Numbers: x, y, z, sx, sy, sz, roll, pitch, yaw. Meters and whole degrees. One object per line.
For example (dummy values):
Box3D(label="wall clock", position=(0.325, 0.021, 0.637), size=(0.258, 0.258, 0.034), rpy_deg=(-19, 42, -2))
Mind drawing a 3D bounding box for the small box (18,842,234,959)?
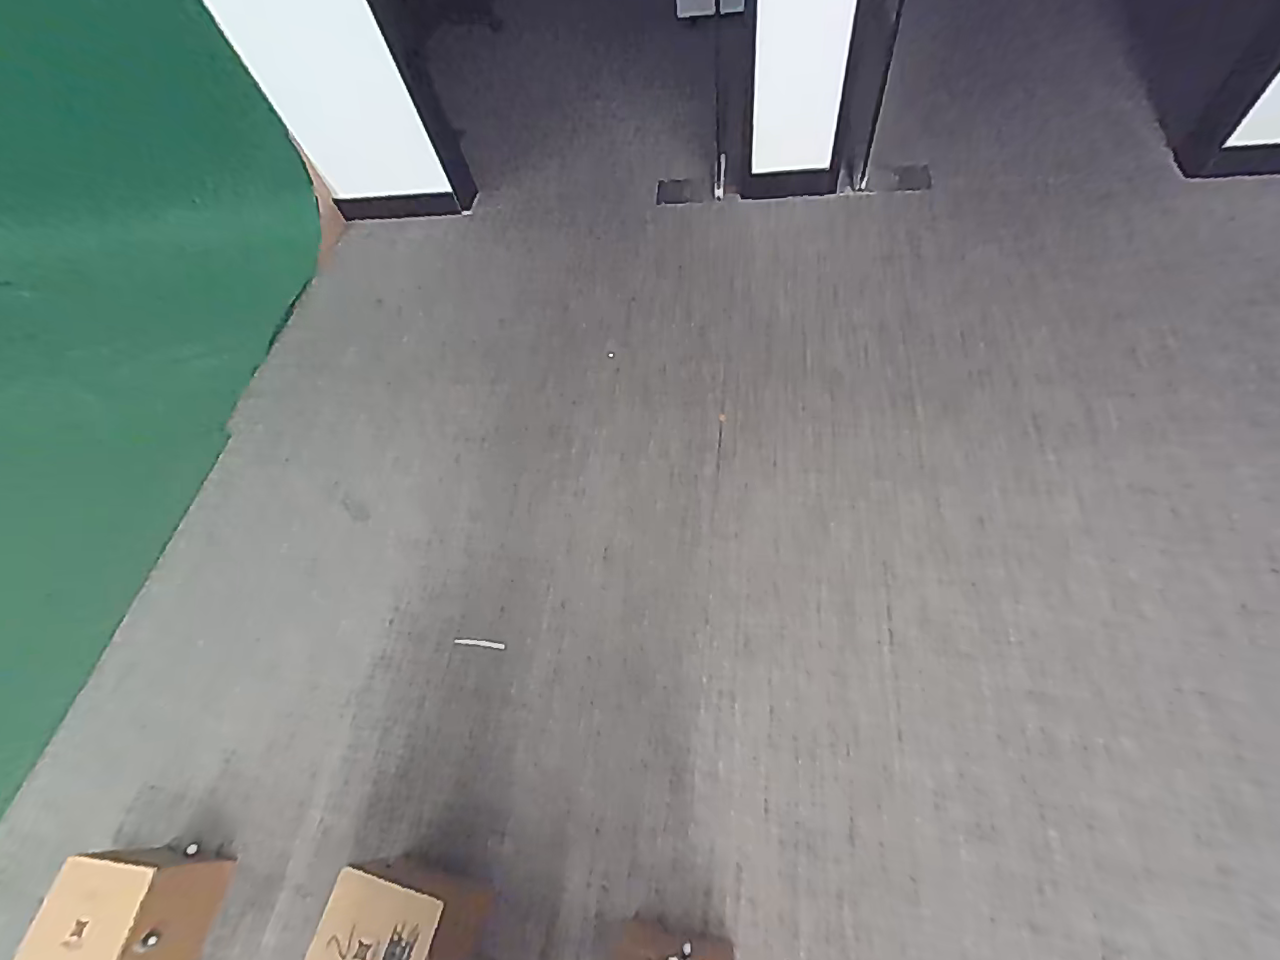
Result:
Box3D(label="small box", position=(-0.813, 0.703, 0.870), size=(0.168, 0.176, 0.179), rpy_deg=(2, 60, 9))

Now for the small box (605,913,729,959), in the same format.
Box3D(label="small box", position=(0.031, 0.719, 0.721), size=(0.168, 0.176, 0.179), rpy_deg=(5, 61, 12))
